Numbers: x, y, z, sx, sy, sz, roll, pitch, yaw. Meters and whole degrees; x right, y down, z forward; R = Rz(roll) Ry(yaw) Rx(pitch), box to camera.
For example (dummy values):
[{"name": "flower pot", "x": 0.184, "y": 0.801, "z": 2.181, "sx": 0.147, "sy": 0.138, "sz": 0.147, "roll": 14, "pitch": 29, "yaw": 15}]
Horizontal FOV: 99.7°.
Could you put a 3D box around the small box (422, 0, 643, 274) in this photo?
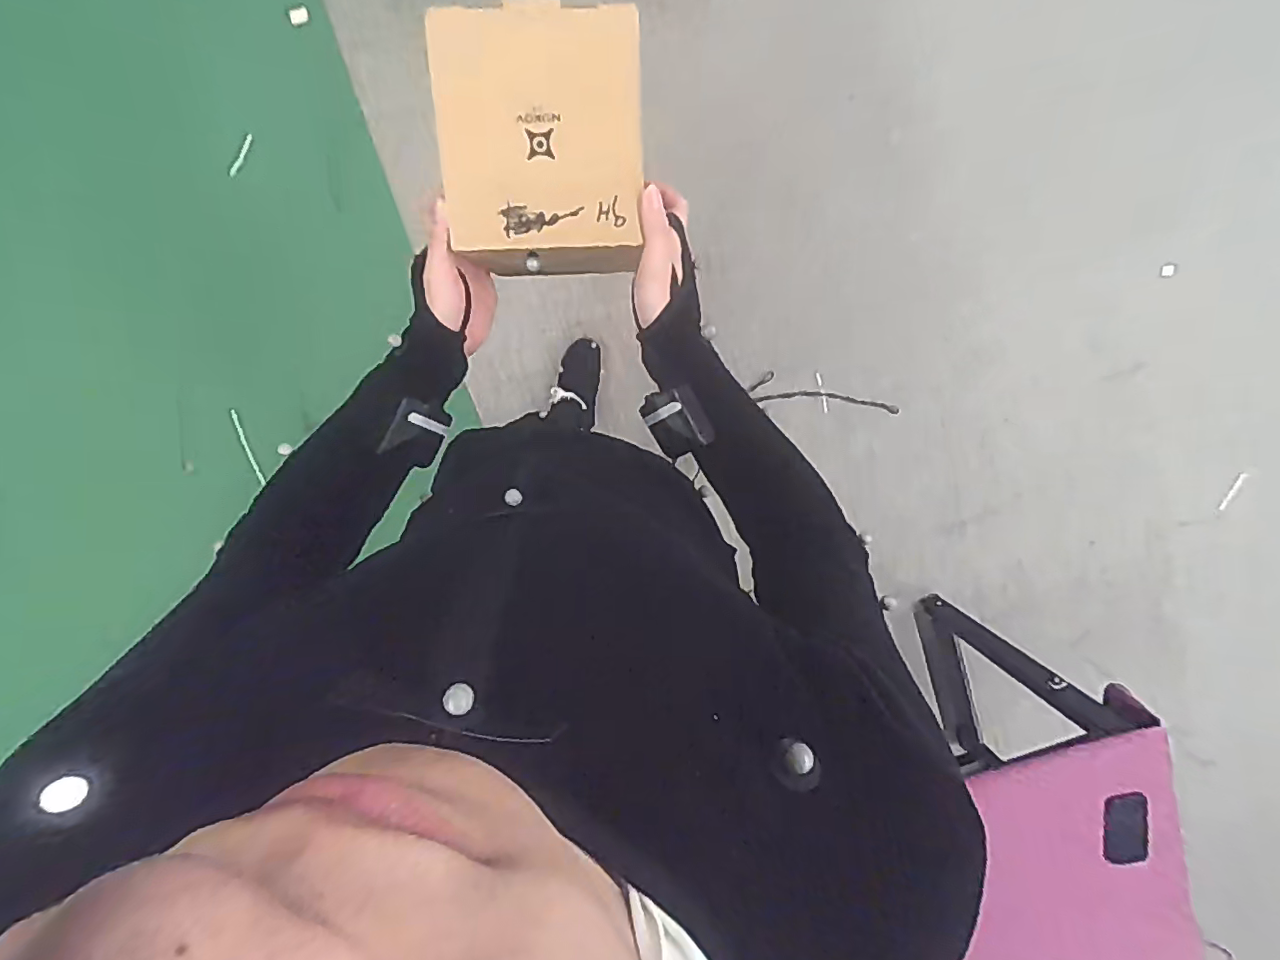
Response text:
[{"name": "small box", "x": -0.084, "y": -0.297, "z": 0.502, "sx": 0.168, "sy": 0.176, "sz": 0.179, "roll": -2, "pitch": 104, "yaw": -1}]
